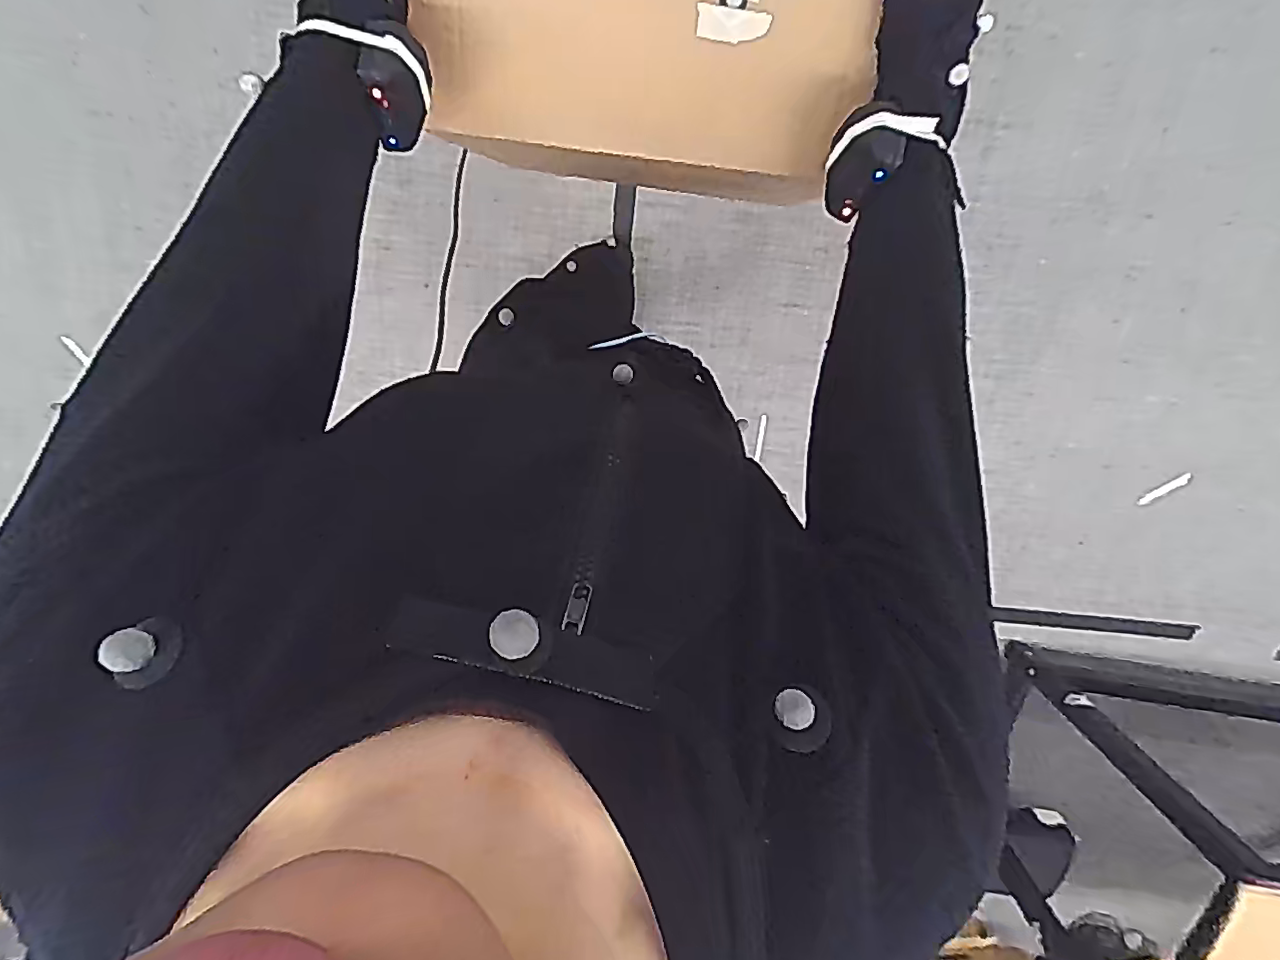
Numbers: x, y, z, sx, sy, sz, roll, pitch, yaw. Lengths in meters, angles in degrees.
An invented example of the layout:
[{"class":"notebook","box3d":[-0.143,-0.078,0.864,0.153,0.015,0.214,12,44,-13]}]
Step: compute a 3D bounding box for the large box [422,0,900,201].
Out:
[{"class":"large box","box3d":[0.024,-0.494,0.569,0.408,0.320,0.320,7,115,-1]}]
